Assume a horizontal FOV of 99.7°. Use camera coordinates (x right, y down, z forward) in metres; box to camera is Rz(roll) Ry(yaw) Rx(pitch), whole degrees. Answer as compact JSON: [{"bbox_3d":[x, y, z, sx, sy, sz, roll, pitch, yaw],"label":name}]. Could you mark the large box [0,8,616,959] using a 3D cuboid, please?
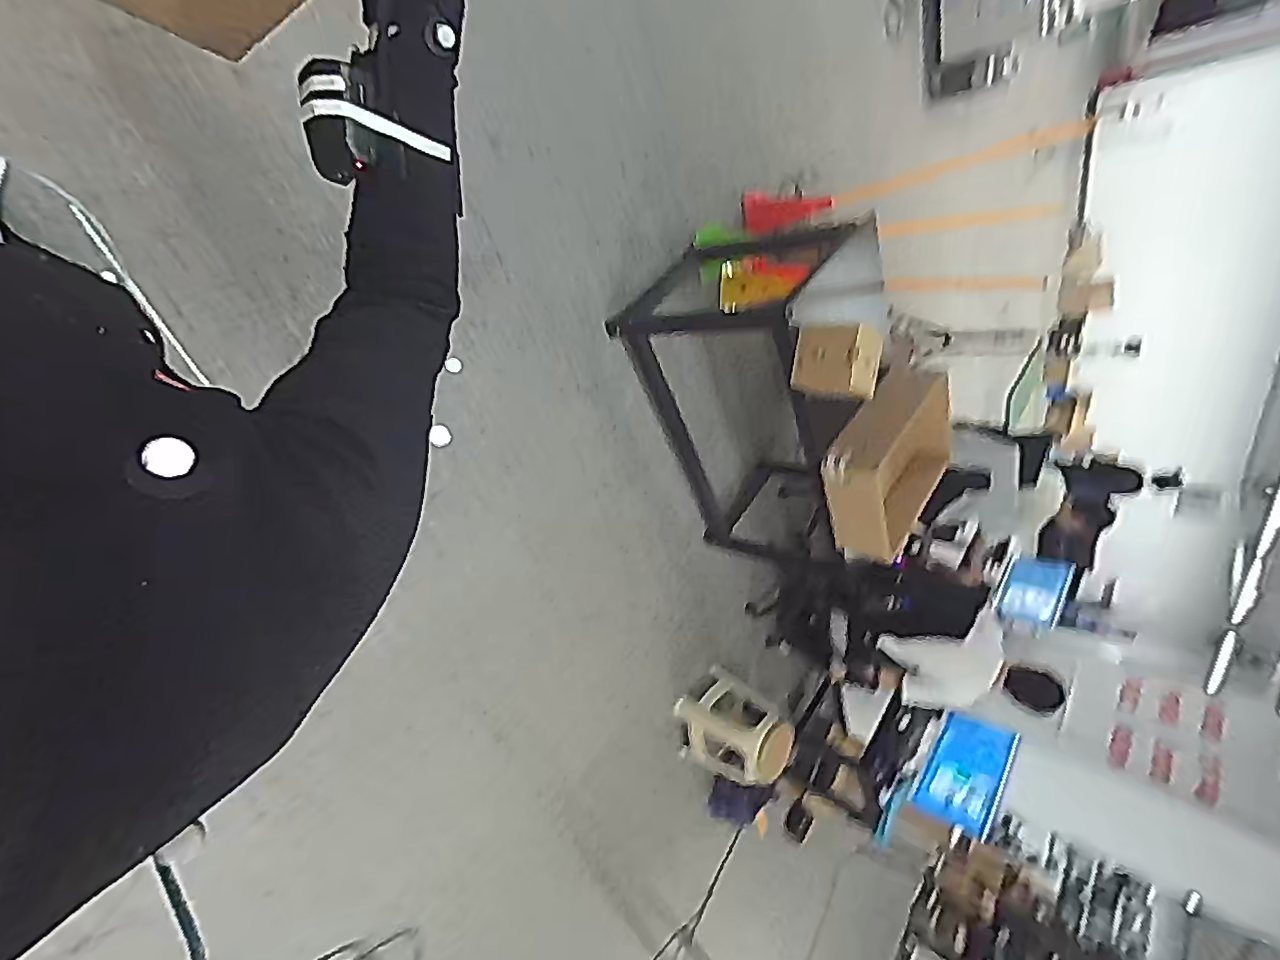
[{"bbox_3d":[-0.223,0.058,0.309,0.320,0.320,0.408,16,56,-20],"label":"large box"}]
